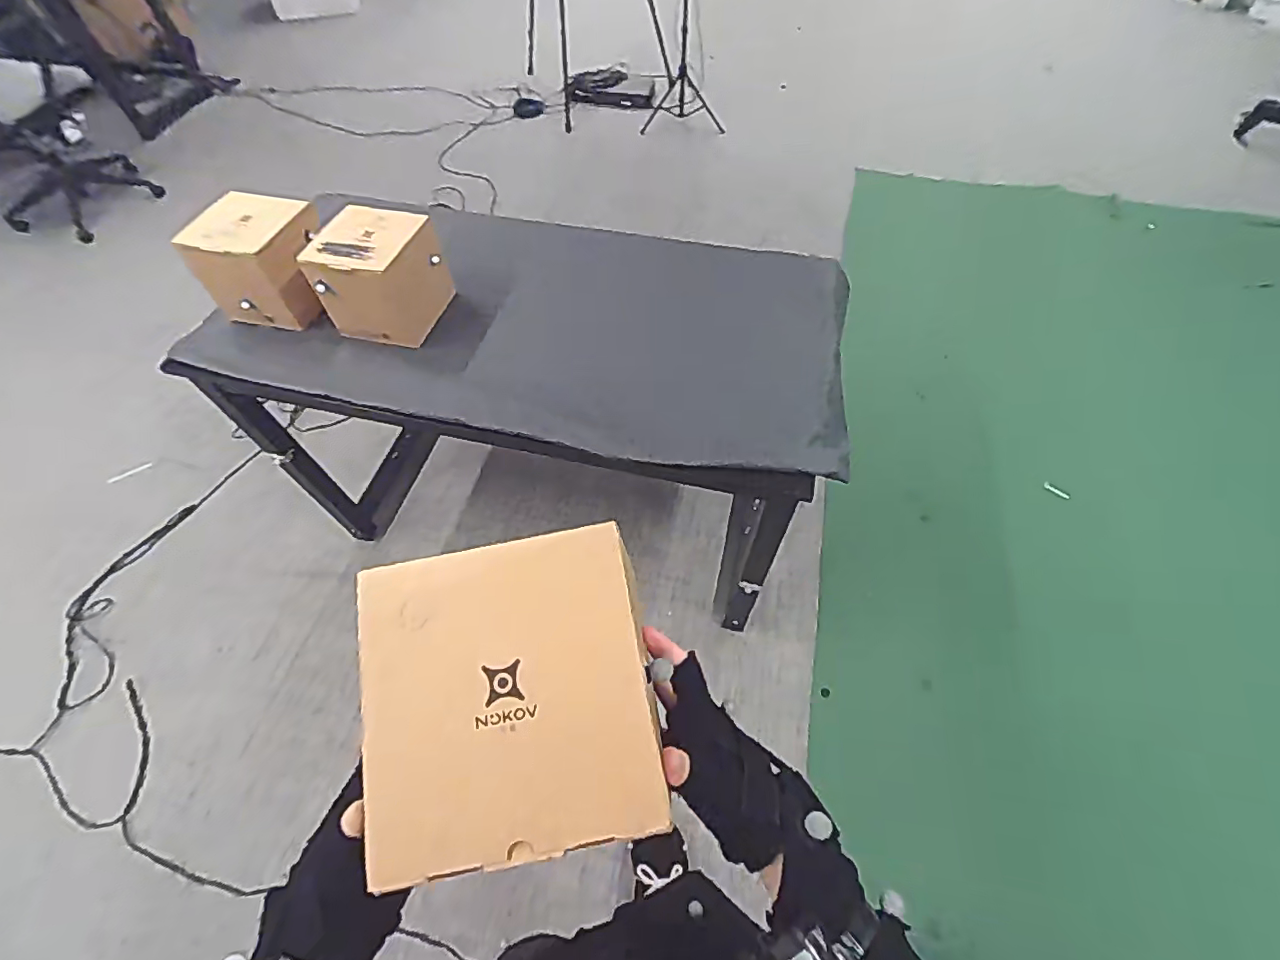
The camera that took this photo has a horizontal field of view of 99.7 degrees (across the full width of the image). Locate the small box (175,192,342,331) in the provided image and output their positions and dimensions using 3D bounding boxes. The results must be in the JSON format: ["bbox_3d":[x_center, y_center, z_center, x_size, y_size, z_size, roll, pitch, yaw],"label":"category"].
[{"bbox_3d":[-0.707,-0.415,1.034,0.168,0.176,0.179,11,57,6],"label":"small box"}]

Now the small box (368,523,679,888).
[{"bbox_3d":[-0.073,0.146,0.392,0.168,0.176,0.179,-11,74,-3],"label":"small box"}]
